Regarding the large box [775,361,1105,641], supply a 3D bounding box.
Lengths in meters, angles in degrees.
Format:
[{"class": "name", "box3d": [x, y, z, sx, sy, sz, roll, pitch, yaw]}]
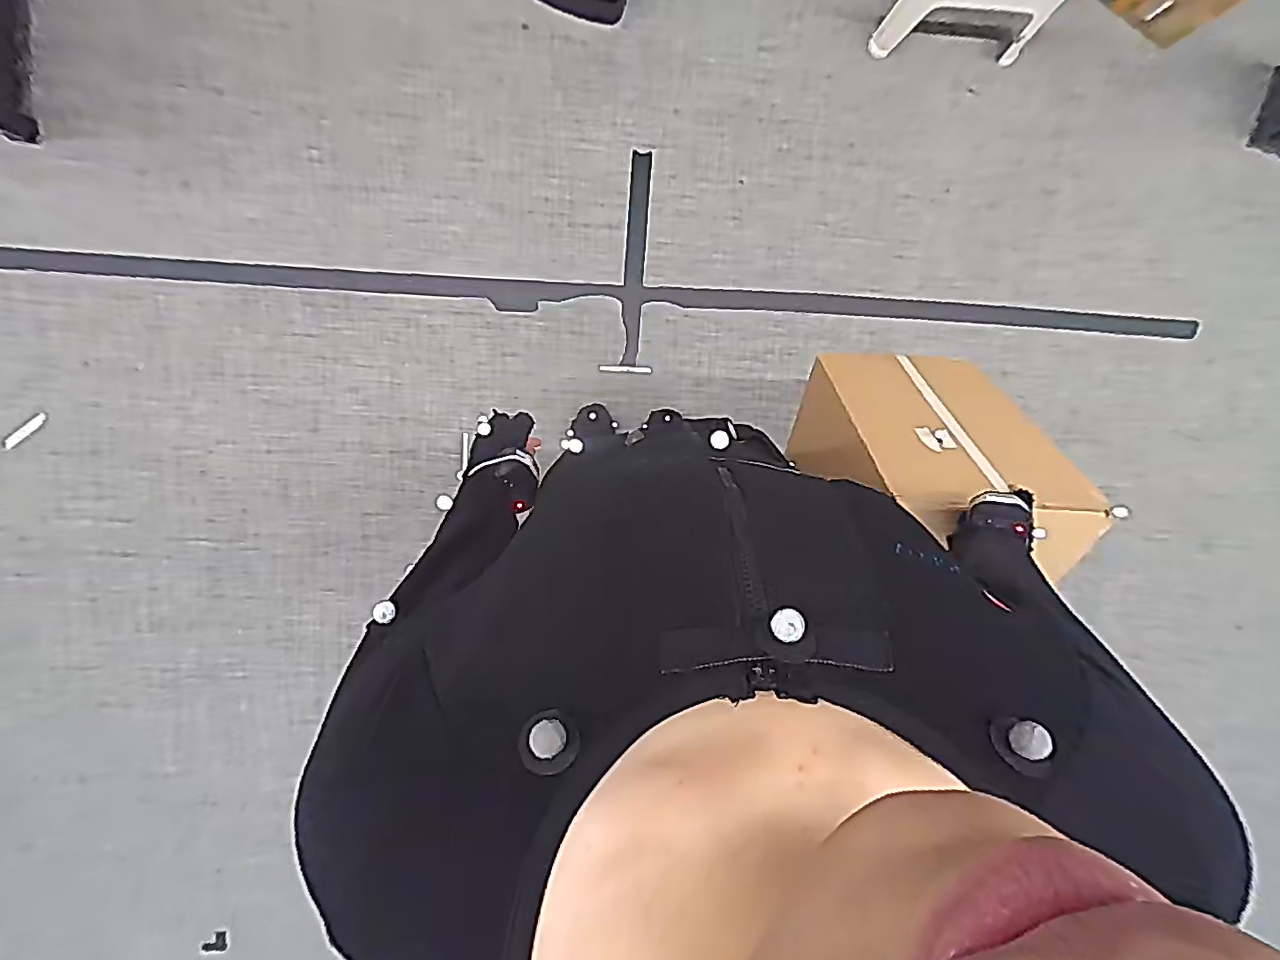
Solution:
[{"class": "large box", "box3d": [0.471, 0.029, 0.976, 0.320, 0.408, 0.320, 3, 132, -4]}]
